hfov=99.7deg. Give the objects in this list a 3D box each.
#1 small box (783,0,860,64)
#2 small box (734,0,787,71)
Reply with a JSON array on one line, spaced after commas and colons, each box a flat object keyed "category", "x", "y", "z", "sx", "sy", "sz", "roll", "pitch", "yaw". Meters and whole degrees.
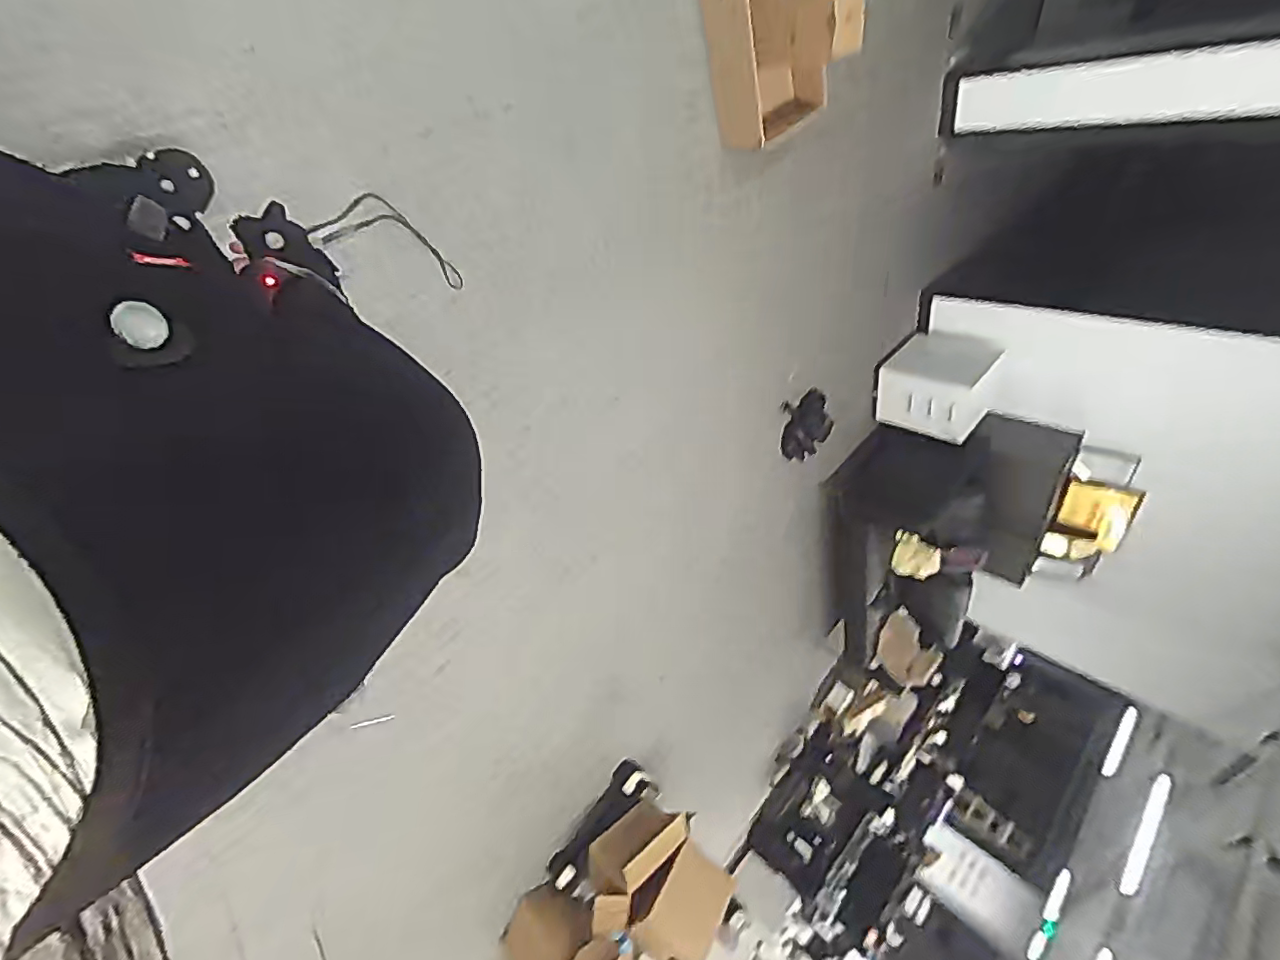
[{"category": "small box", "x": 0.556, "y": -1.407, "z": 1.669, "sx": 0.179, "sy": 0.176, "sz": 0.168, "roll": -38, "pitch": 135, "yaw": -29}, {"category": "small box", "x": 0.429, "y": -1.471, "z": 1.775, "sx": 0.168, "sy": 0.176, "sz": 0.179, "roll": -39, "pitch": 132, "yaw": -28}]
